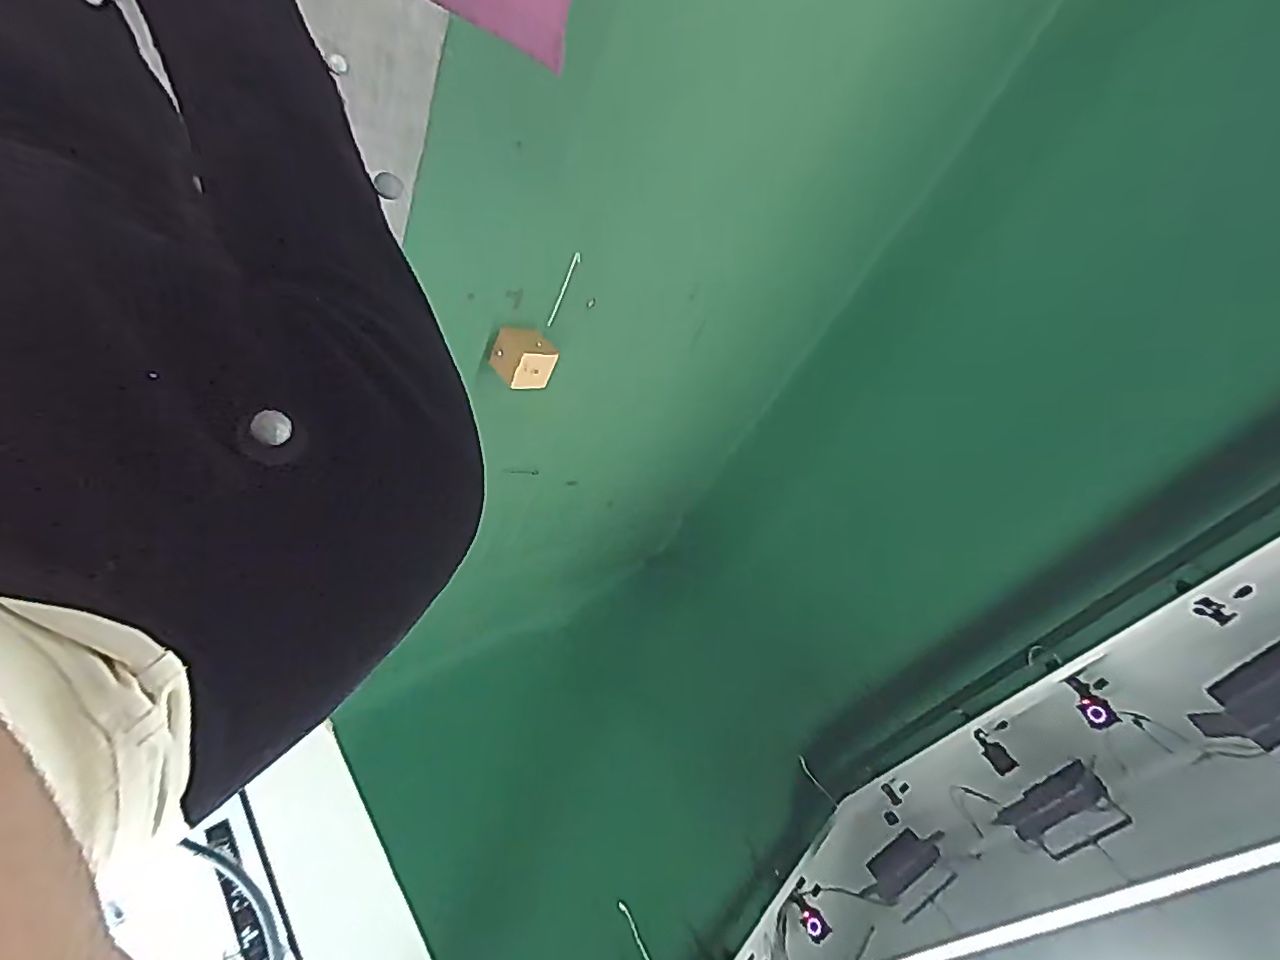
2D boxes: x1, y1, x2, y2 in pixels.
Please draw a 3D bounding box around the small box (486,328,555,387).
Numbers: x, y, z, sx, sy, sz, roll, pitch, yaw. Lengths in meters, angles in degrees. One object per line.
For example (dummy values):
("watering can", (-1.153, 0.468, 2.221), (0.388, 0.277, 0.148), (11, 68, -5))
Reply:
("small box", (-0.474, -0.485, 2.138), (0.179, 0.176, 0.168), (-13, 142, -48))
